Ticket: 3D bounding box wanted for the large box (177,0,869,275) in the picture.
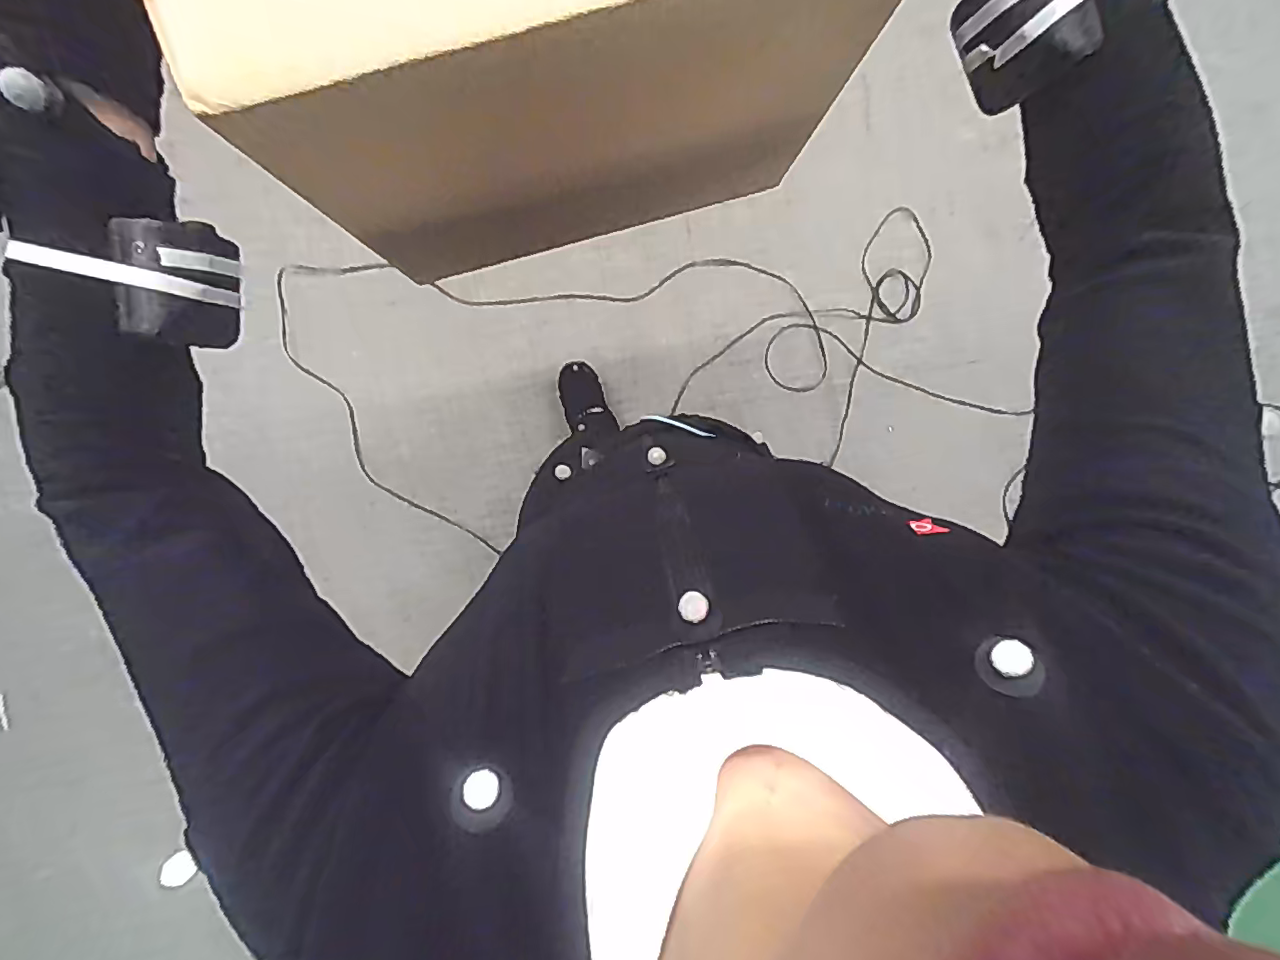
[{"bbox_3d":[-0.084,-0.405,0.420,0.408,0.320,0.320,-16,95,-3],"label":"large box"}]
